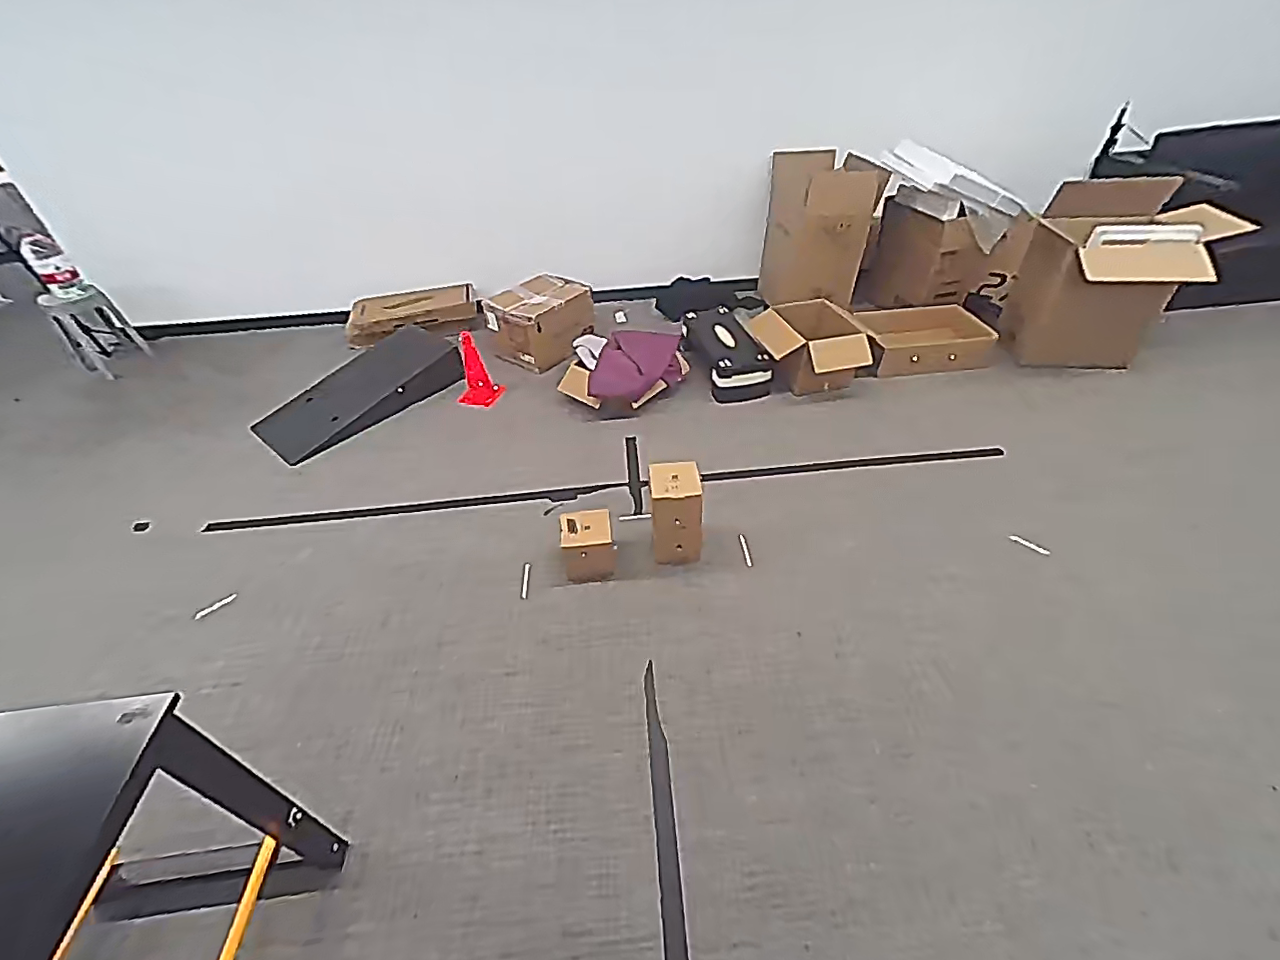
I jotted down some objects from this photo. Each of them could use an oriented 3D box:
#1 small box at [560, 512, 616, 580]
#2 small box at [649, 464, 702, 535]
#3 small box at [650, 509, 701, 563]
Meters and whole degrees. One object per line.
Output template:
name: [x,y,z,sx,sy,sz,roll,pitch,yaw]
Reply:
small box: [-0.185,0.239,1.931,0.179,0.176,0.168,-6,41,-3]
small box: [0.119,0.068,1.855,0.168,0.176,0.179,-5,41,0]
small box: [0.130,0.188,1.969,0.168,0.176,0.179,-6,42,-2]
